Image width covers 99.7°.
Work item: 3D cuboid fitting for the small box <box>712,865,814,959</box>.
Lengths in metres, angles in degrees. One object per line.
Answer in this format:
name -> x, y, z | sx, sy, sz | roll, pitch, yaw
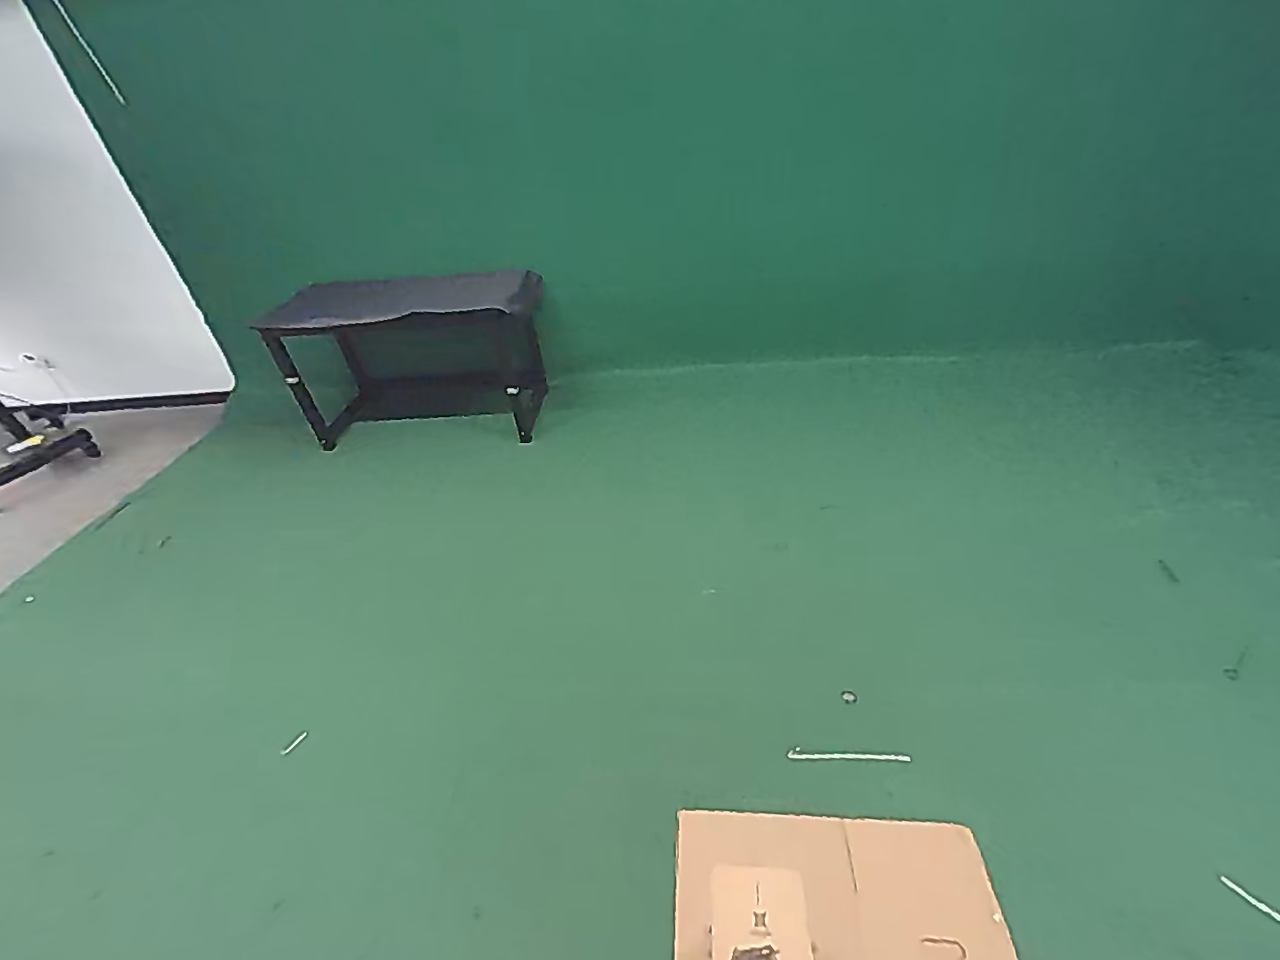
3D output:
small box -> 0.215, 0.821, 0.958 | 0.168, 0.176, 0.179 | -2, 35, 8
